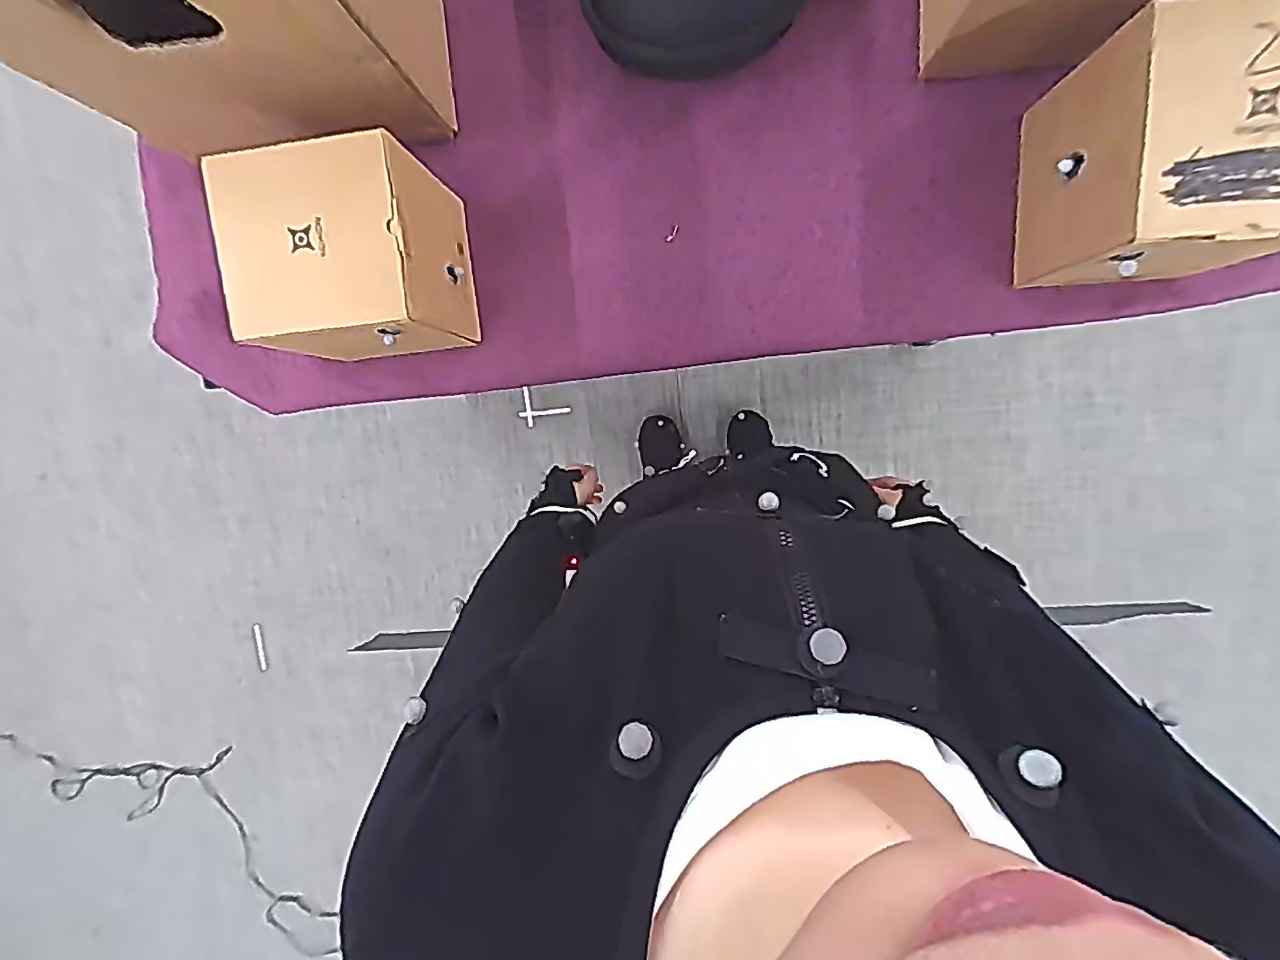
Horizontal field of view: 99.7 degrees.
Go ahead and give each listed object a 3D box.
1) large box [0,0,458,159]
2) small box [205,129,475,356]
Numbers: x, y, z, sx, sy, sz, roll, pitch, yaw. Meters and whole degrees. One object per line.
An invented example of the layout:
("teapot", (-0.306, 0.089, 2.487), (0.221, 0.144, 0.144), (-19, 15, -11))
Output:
("large box", (-0.386, -0.558, 0.462), (0.320, 0.320, 0.408), (-5, 100, 5))
("small box", (-0.299, -0.231, 0.573), (0.179, 0.176, 0.168), (-6, 96, 5))
